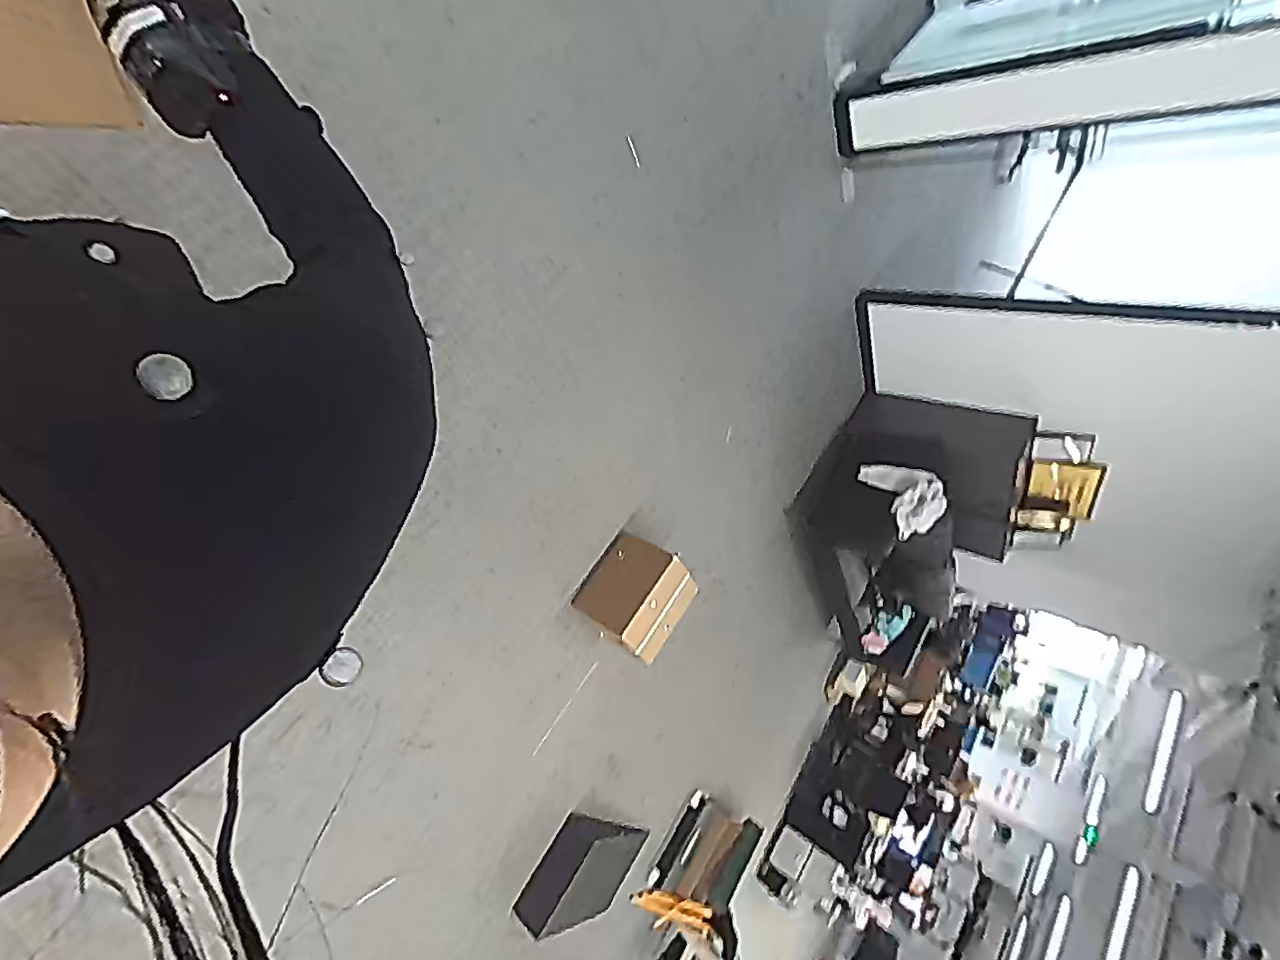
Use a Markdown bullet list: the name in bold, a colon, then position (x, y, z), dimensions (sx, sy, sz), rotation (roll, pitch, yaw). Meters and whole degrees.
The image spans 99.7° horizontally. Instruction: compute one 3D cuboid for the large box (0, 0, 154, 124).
- **large box**: position (-0.579, -0.438, 0.289), dimensions (0.408, 0.320, 0.320), rotation (-14, 146, -28)
